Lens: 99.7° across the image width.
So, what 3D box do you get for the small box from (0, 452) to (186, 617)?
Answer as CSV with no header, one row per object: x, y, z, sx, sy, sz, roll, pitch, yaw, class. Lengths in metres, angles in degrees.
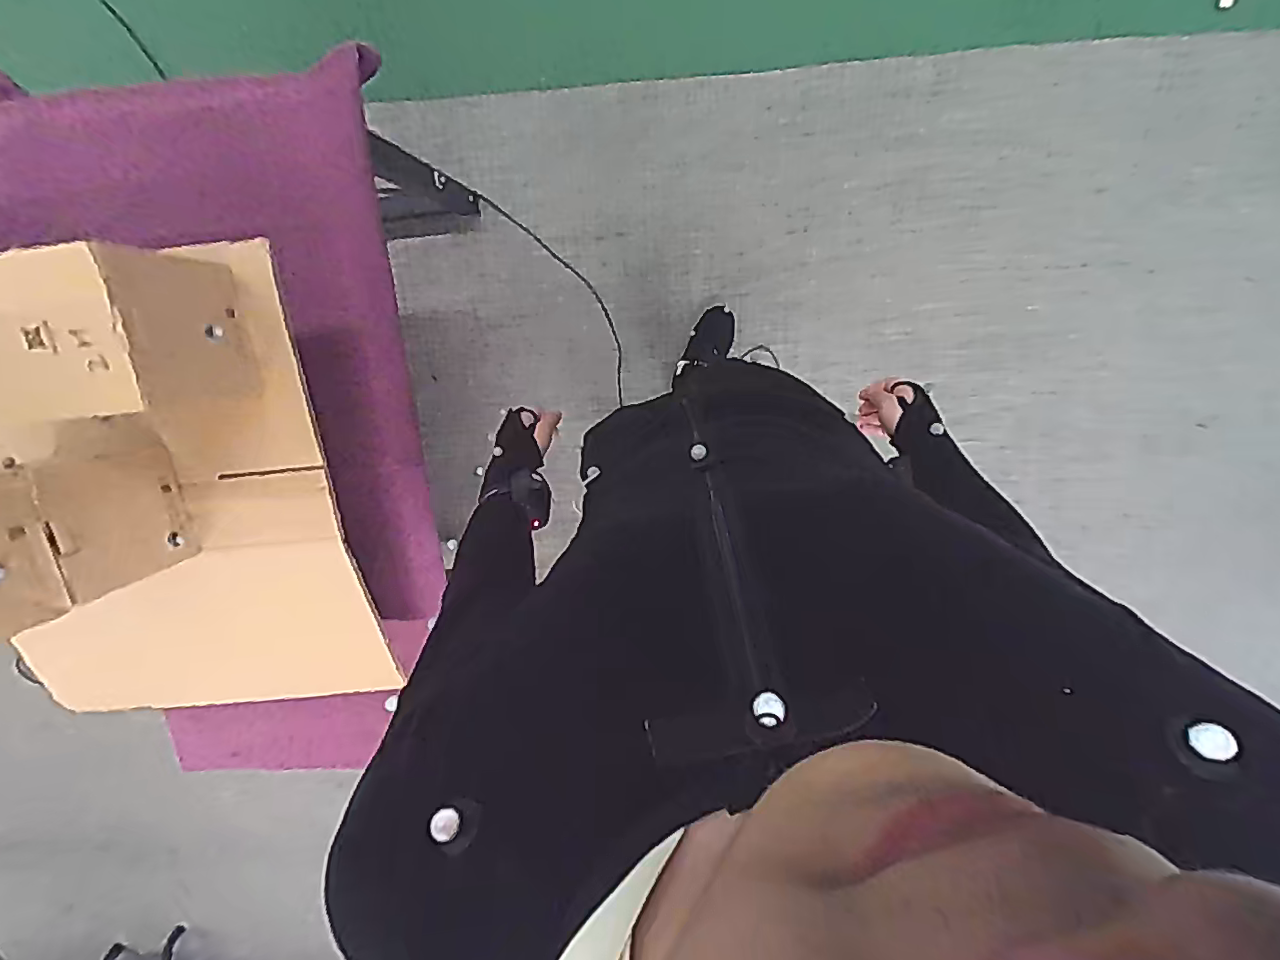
-0.728,0.064,0.683,0.179,0.176,0.168,-6,102,6,small box

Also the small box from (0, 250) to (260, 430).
-0.593,-0.155,0.622,0.179,0.176,0.168,-5,104,4,small box

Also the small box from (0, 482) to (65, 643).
-0.747,0.104,0.527,0.179,0.176,0.168,-7,102,4,small box
